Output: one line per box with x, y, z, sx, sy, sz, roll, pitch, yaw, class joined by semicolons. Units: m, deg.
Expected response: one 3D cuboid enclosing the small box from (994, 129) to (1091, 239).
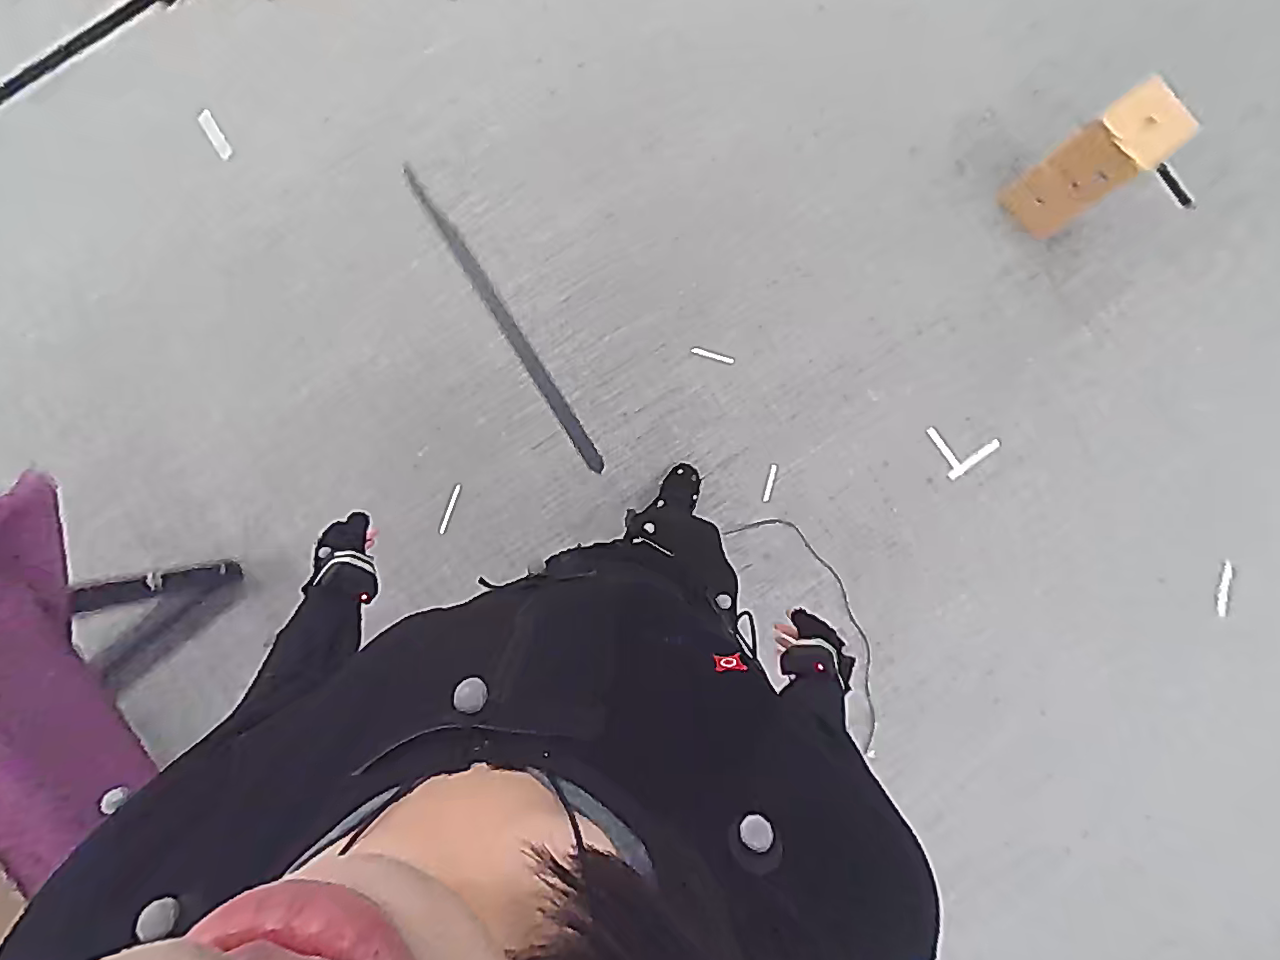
1.134;-0.797;1.484;0.168;0.176;0.179;-42;88;-2;small box

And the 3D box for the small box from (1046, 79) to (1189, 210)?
1.148;-0.808;1.322;0.179;0.176;0.168;-38;90;-3;small box
